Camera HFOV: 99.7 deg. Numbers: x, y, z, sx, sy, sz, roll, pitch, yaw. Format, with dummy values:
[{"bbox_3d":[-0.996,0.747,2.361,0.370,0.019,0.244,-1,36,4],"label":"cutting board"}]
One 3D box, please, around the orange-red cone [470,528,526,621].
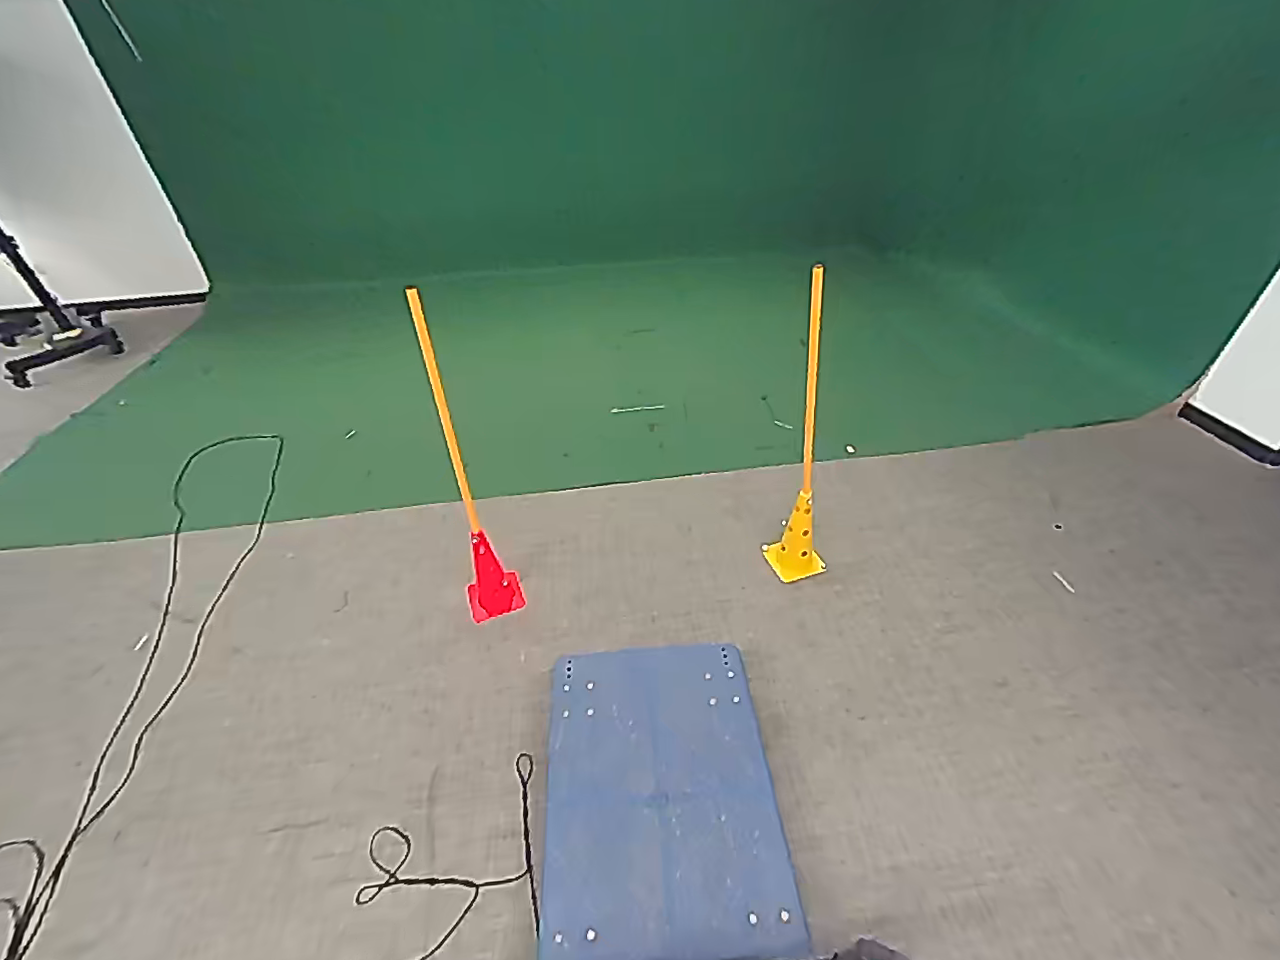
[{"bbox_3d":[-0.560,0.317,1.981,0.199,0.360,0.198,-17,41,-15],"label":"orange-red cone"}]
